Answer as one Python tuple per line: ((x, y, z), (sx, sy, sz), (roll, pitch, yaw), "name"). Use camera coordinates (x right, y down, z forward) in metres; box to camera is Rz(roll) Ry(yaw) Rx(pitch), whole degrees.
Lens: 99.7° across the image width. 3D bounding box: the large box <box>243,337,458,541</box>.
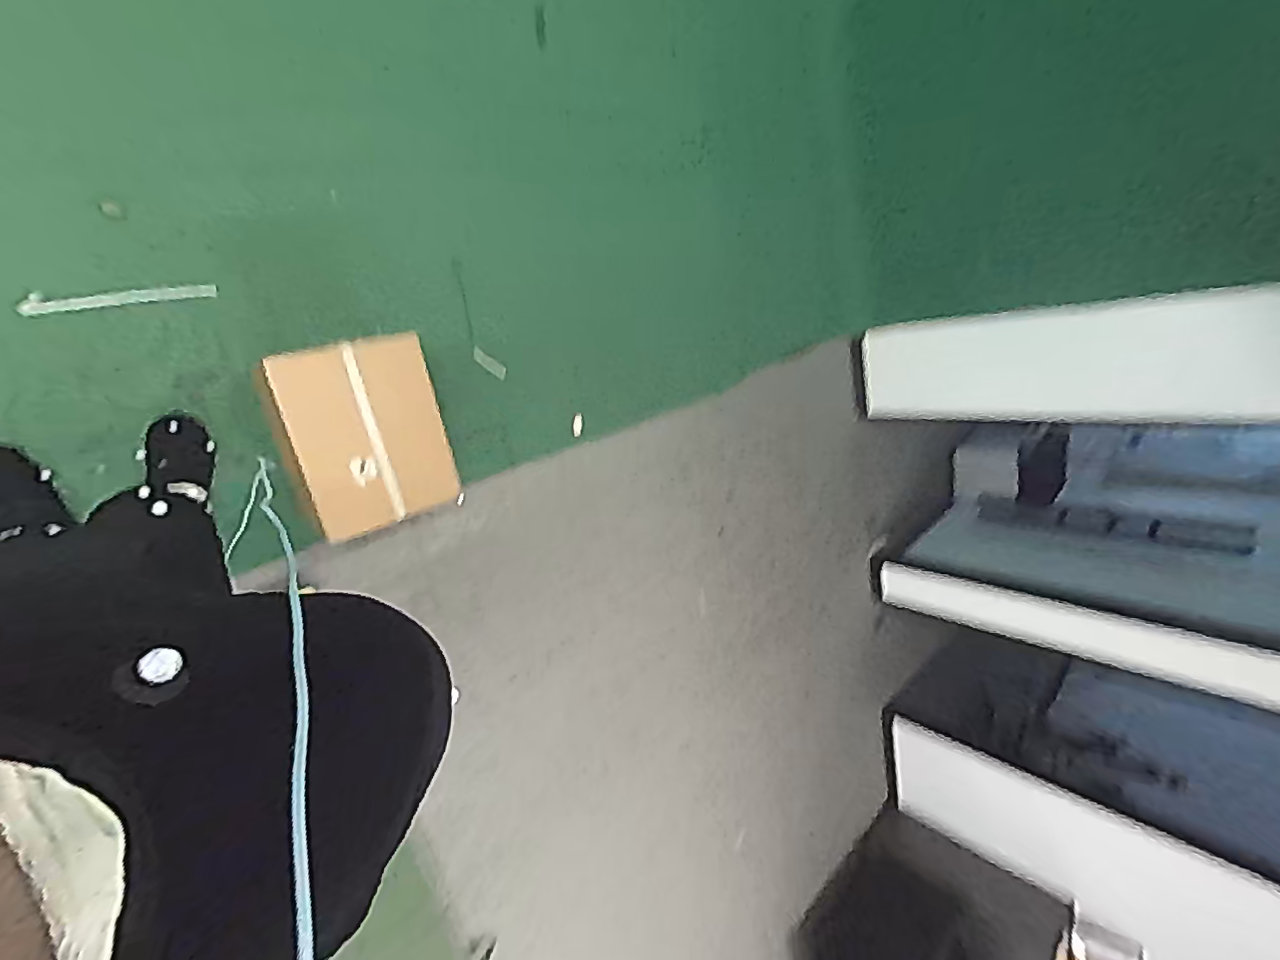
((-0.707, -0.113, 1.329), (0.320, 0.320, 0.408), (-24, 111, -36), "large box")
